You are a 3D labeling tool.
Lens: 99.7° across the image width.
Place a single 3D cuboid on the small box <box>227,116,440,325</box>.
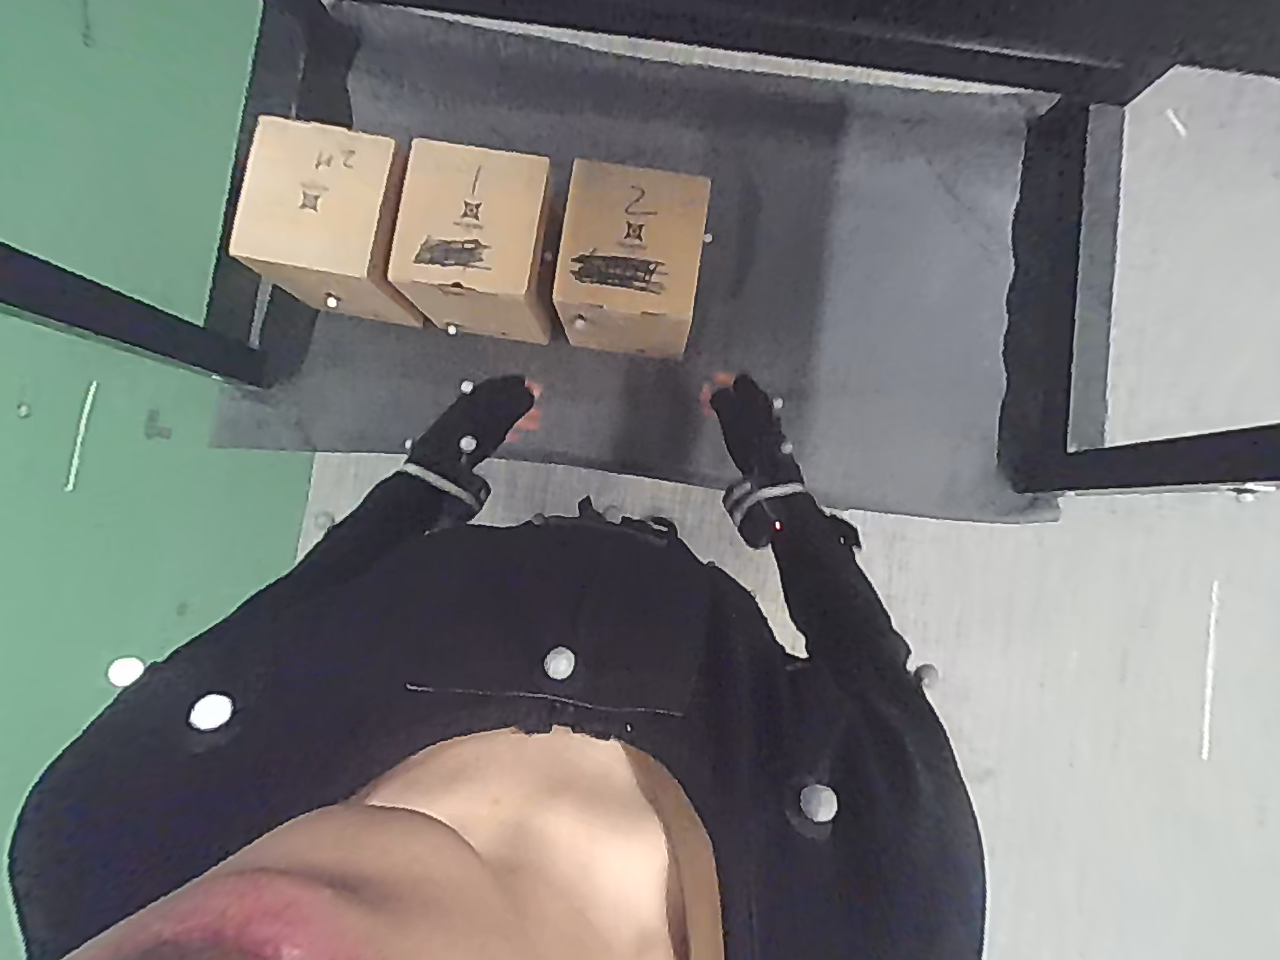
[{"bbox_3d":[-0.380,-0.320,0.704,0.168,0.176,0.179,11,86,-1],"label":"small box"}]
